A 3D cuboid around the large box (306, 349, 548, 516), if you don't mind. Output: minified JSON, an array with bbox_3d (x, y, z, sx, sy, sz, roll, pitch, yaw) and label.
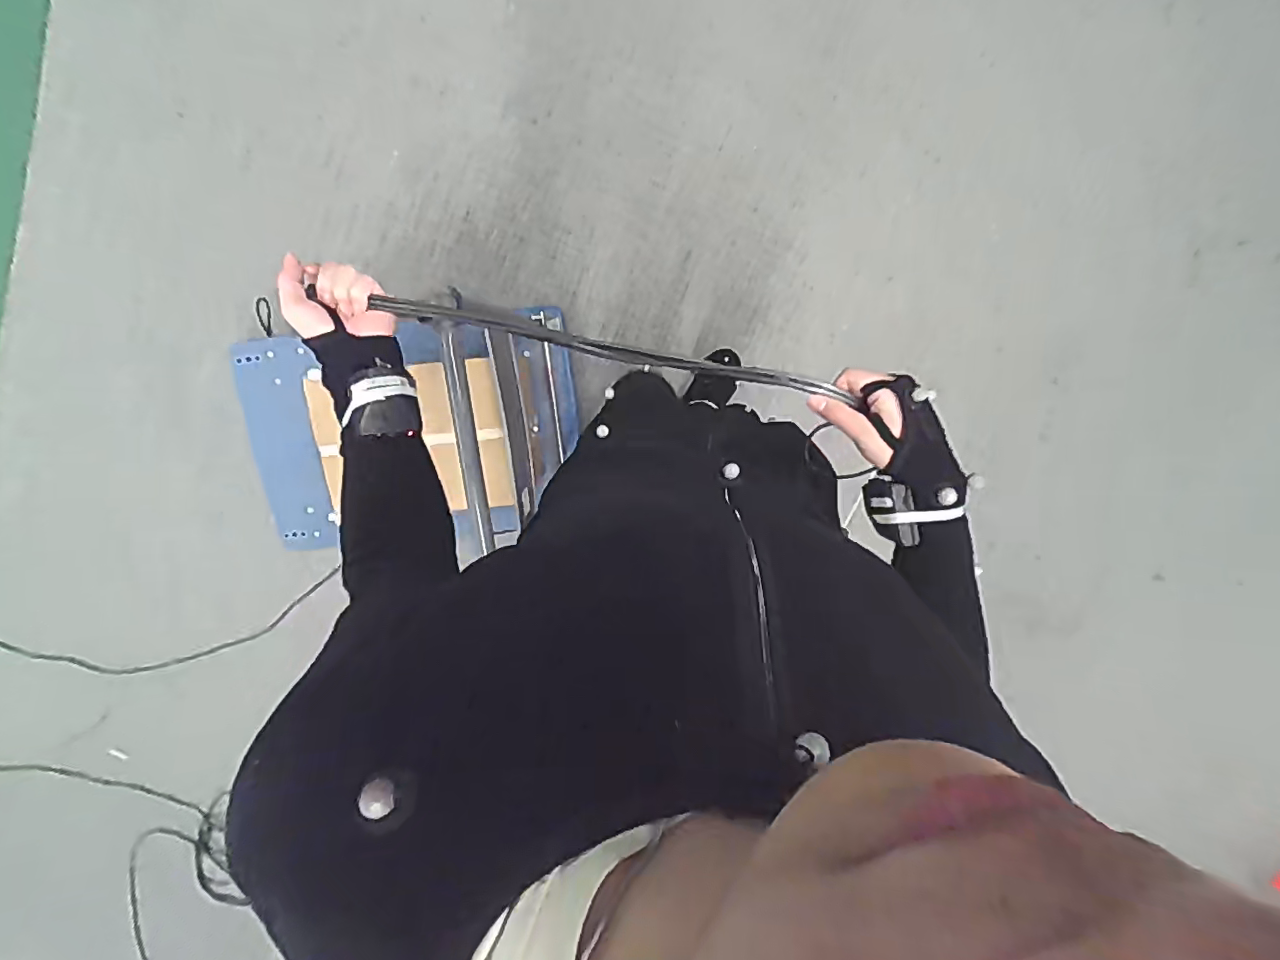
[{"bbox_3d":[-0.462,-0.125,1.265,0.408,0.320,0.320,-6,102,3],"label":"large box"}]
